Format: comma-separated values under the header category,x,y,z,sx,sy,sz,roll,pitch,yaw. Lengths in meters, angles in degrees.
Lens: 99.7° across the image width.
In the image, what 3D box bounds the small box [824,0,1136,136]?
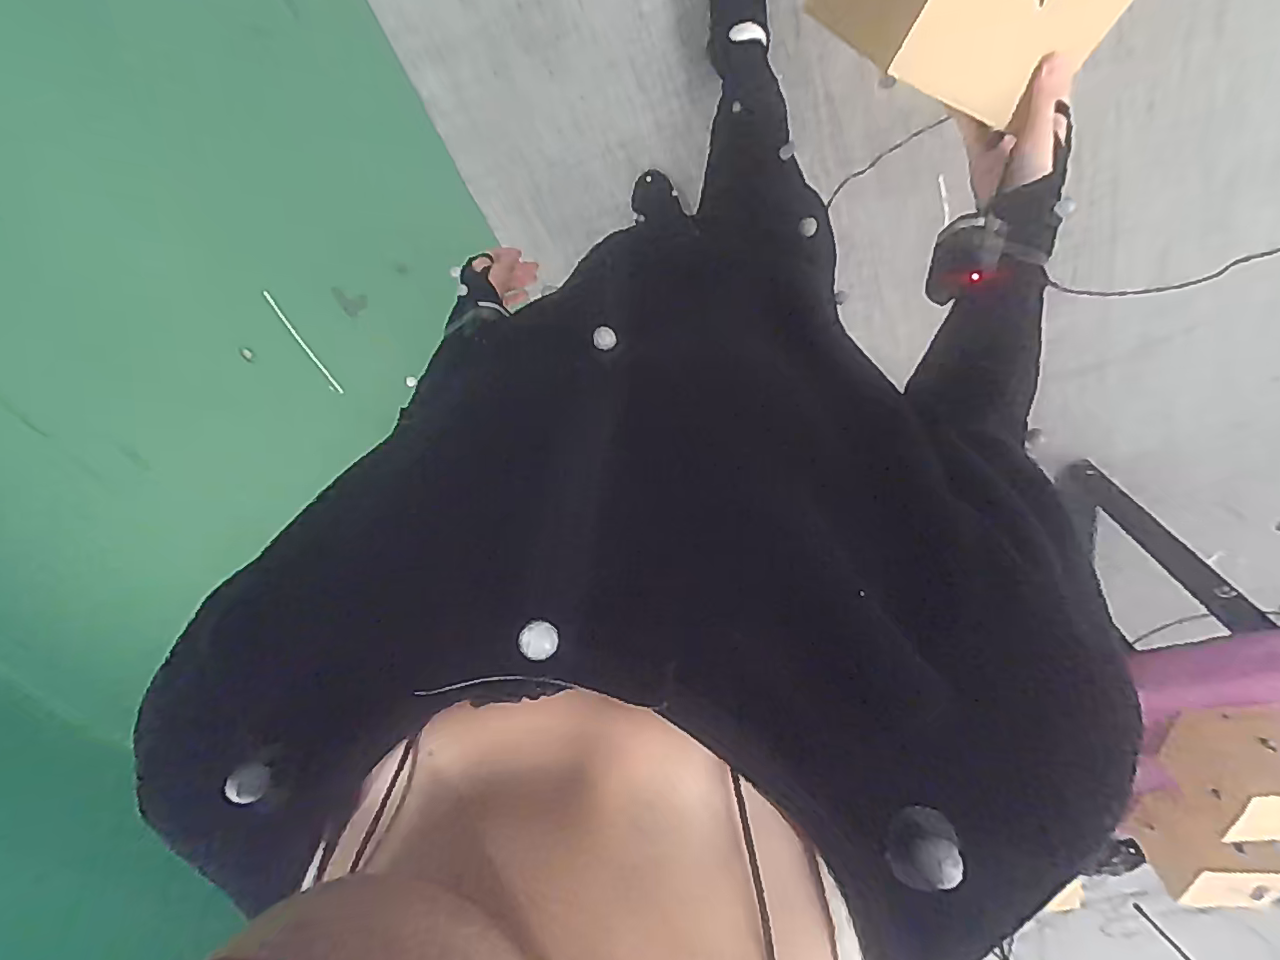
category,x,y,z,sx,sy,sz,roll,pitch,yaw
small box,0.271,-0.416,0.421,0.168,0.176,0.179,3,139,-24

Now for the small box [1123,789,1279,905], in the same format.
category,x,y,z,sx,sy,sz,roll,pitch,yaw
small box,1.244,0.809,1.199,0.179,0.176,0.168,-5,123,9

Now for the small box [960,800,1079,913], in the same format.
category,x,y,z,sx,sy,sz,roll,pitch,yaw
small box,0.890,0.885,1.278,0.179,0.176,0.168,-17,120,14

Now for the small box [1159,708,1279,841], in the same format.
category,x,y,z,sx,sy,sz,roll,pitch,yaw
small box,1.154,0.554,1.029,0.168,0.176,0.179,-9,124,11
